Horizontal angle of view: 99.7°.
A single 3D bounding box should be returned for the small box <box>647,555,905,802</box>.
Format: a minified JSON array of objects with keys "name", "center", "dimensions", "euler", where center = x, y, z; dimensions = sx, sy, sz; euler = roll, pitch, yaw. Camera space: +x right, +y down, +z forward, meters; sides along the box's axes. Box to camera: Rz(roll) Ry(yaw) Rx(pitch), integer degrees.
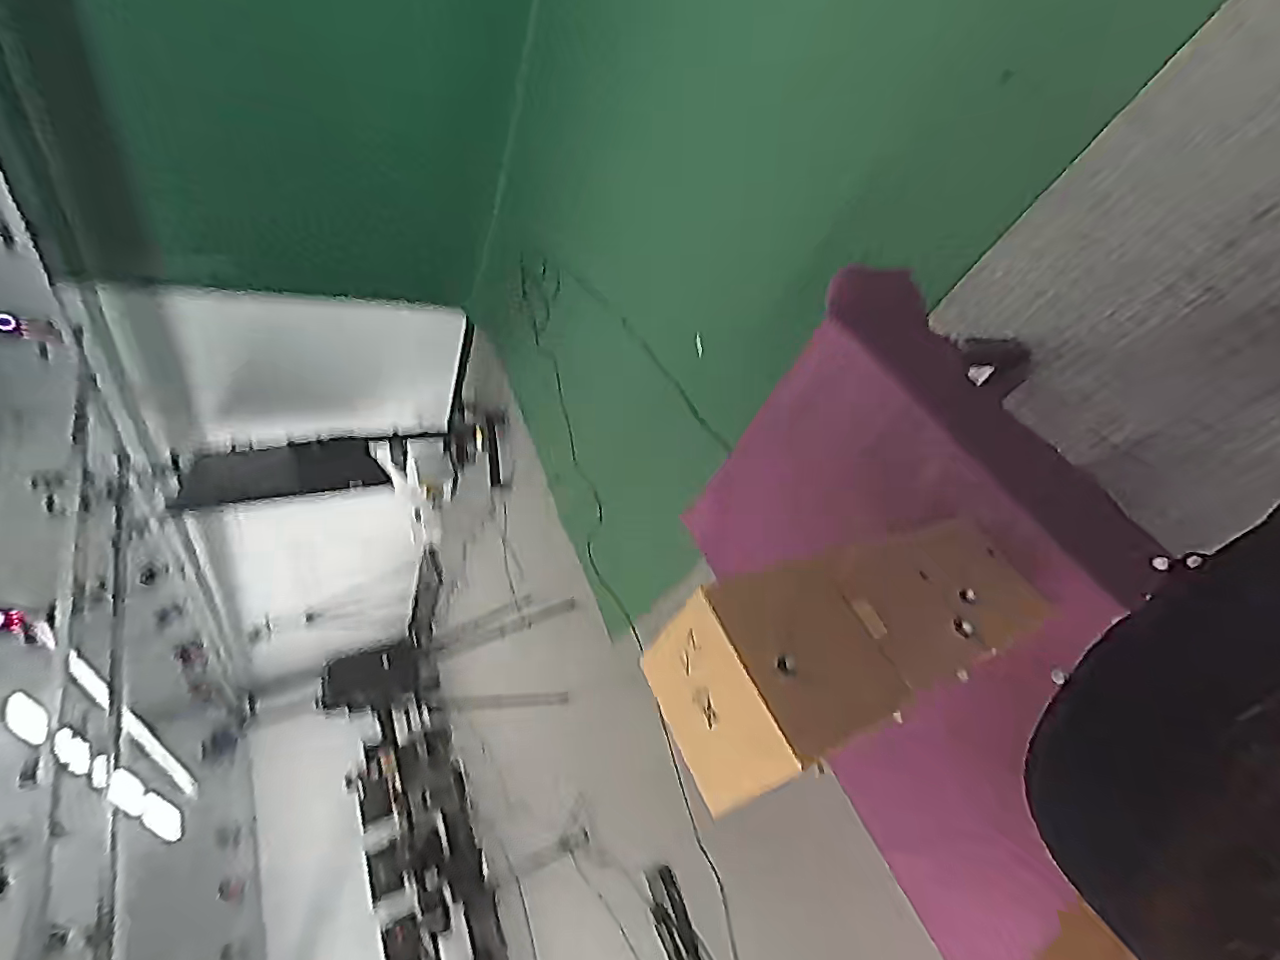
[{"name":"small box","center":[0.140,0.204,0.584],"dimensions":[0.179,0.176,0.168],"euler":[60,140,29]}]
